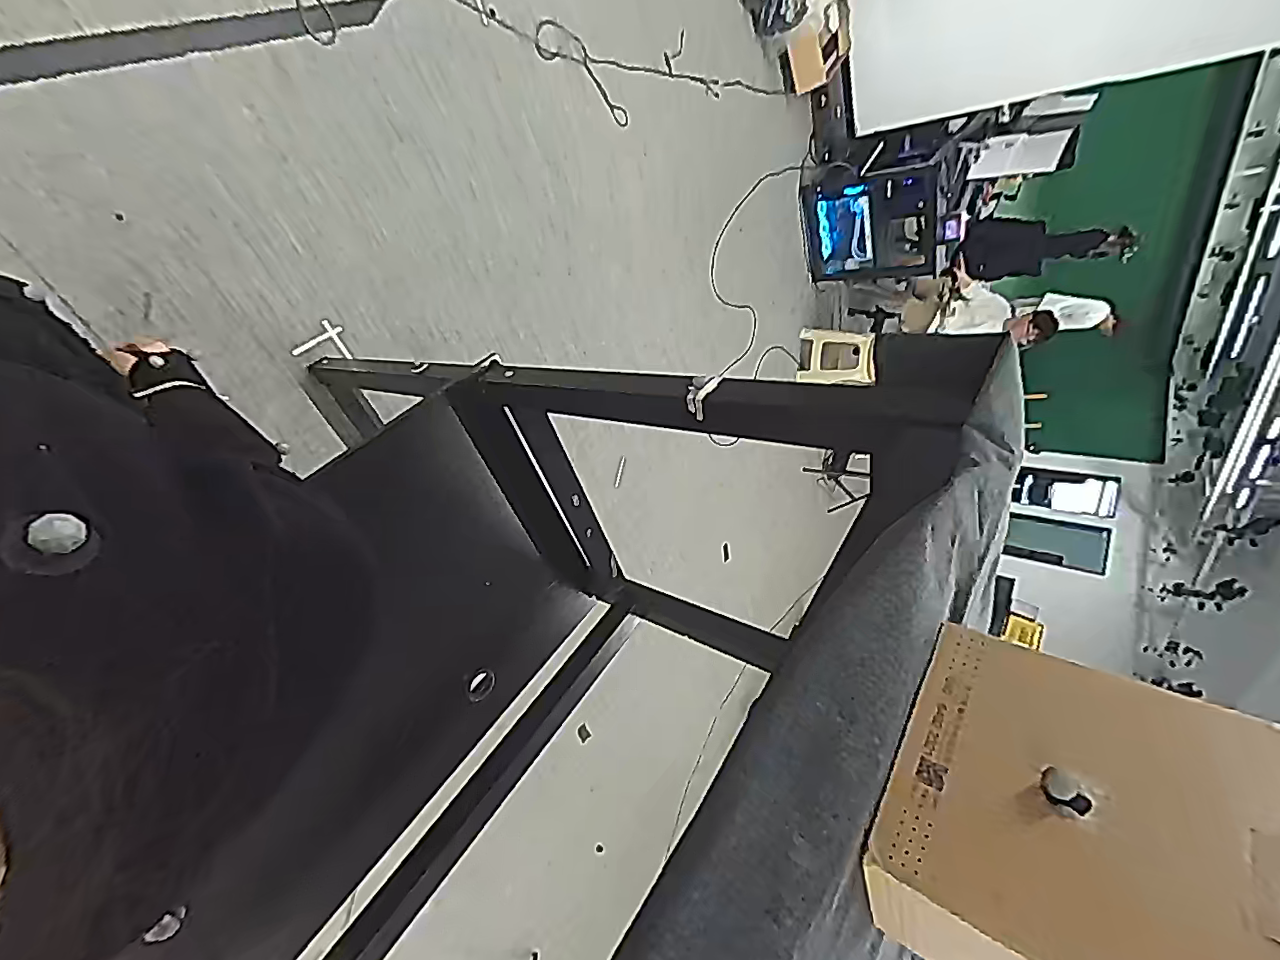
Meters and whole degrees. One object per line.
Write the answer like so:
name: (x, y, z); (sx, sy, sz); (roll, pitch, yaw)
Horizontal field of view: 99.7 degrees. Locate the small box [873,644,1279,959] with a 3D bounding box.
small box: (0.259, 0.229, 0.342); (0.168, 0.176, 0.179); (-50, 135, -29)
